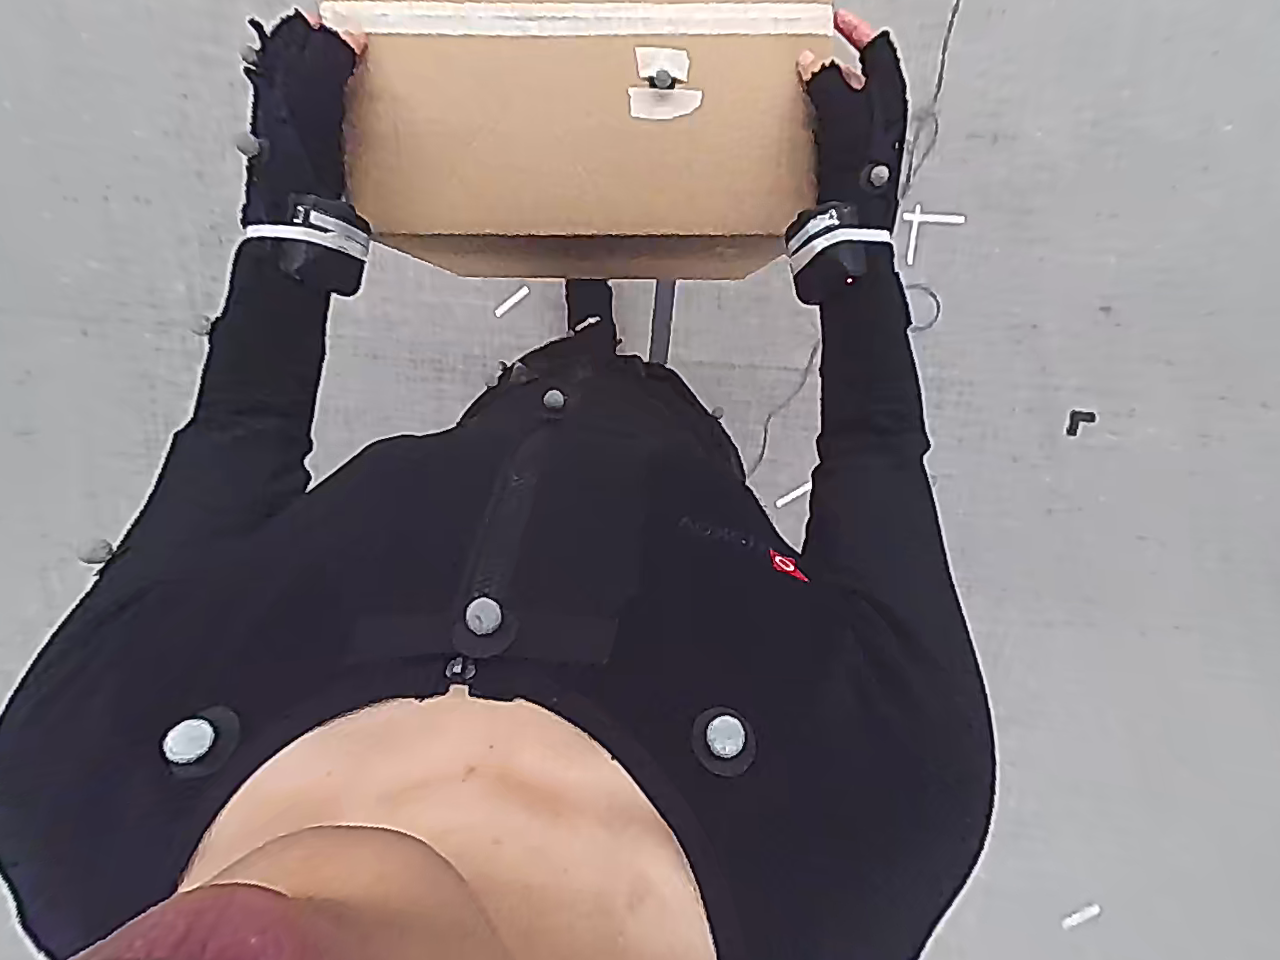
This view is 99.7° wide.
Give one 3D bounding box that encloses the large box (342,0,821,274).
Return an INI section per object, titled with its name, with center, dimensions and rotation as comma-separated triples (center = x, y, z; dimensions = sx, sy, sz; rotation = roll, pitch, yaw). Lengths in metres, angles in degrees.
[large box]
center = -0.052, -0.414, 0.593
dimensions = 0.408, 0.320, 0.320
rotation = -1, 104, -2
